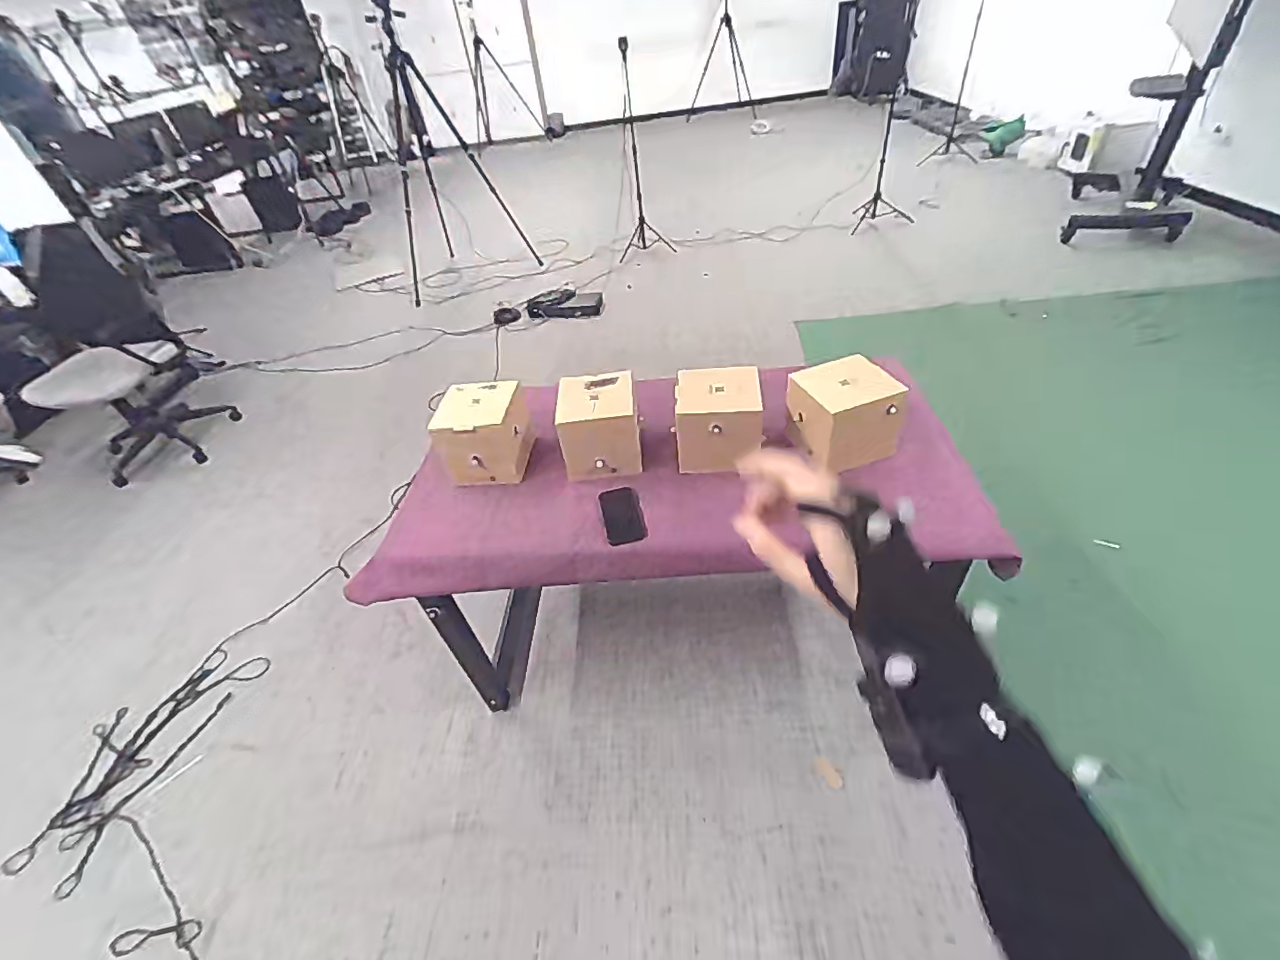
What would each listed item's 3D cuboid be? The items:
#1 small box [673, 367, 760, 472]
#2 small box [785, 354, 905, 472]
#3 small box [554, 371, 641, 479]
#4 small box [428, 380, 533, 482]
[{"bbox_3d":[0.169,-0.130,1.184,0.179,0.176,0.168,-1,43,8],"label":"small box"},{"bbox_3d":[0.425,-0.140,1.149,0.179,0.176,0.168,-17,42,-10],"label":"small box"},{"bbox_3d":[-0.089,-0.123,1.217,0.168,0.176,0.179,-6,43,3],"label":"small box"},{"bbox_3d":[-0.355,-0.108,1.245,0.168,0.176,0.179,-2,43,6],"label":"small box"}]
